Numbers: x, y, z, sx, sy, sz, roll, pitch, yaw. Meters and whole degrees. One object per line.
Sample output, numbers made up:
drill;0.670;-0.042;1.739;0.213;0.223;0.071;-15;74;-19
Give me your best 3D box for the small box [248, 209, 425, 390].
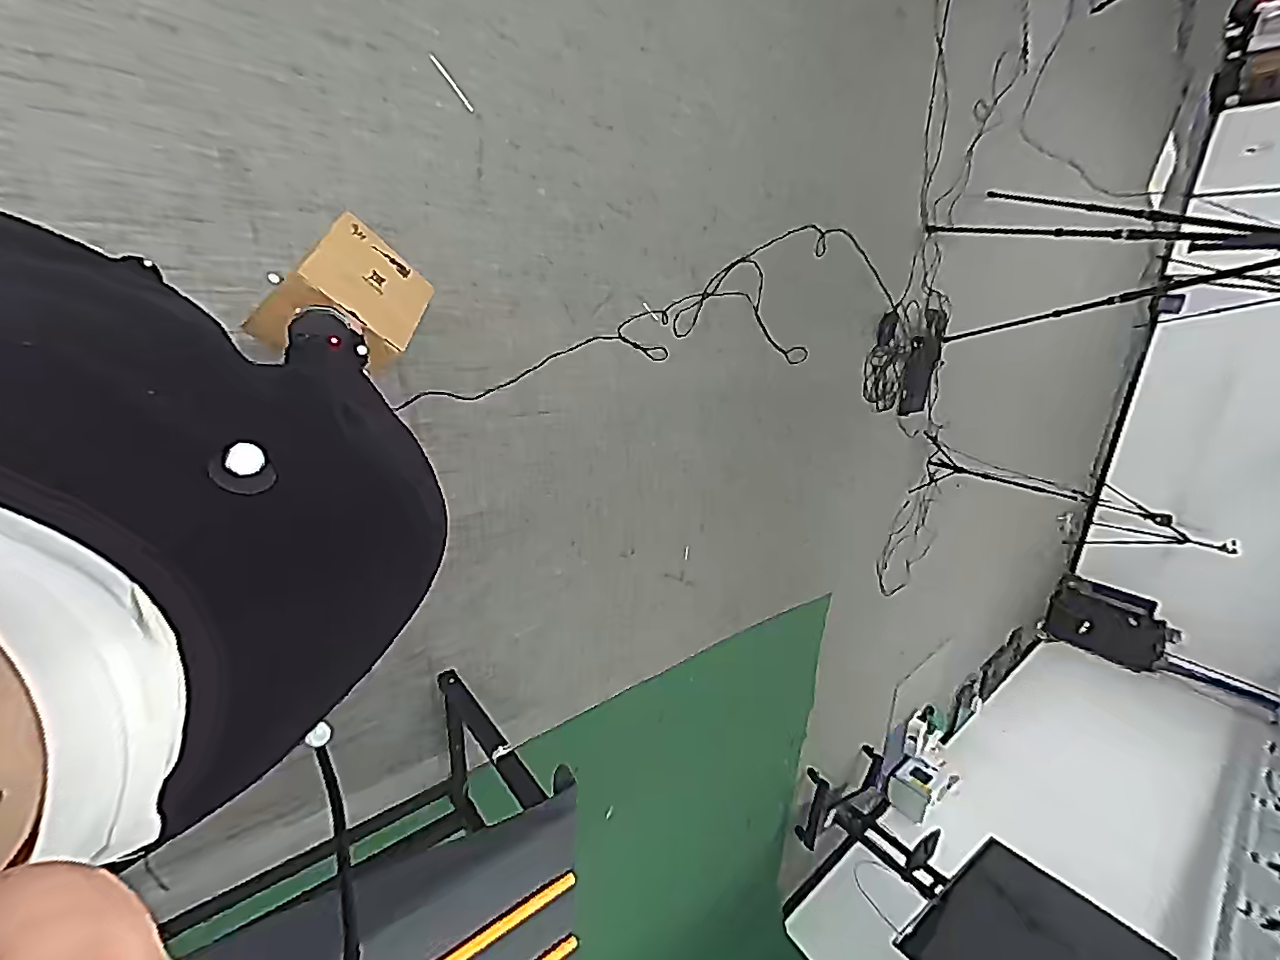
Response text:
small box;-0.479;-0.276;0.858;0.168;0.176;0.179;37;41;-38
